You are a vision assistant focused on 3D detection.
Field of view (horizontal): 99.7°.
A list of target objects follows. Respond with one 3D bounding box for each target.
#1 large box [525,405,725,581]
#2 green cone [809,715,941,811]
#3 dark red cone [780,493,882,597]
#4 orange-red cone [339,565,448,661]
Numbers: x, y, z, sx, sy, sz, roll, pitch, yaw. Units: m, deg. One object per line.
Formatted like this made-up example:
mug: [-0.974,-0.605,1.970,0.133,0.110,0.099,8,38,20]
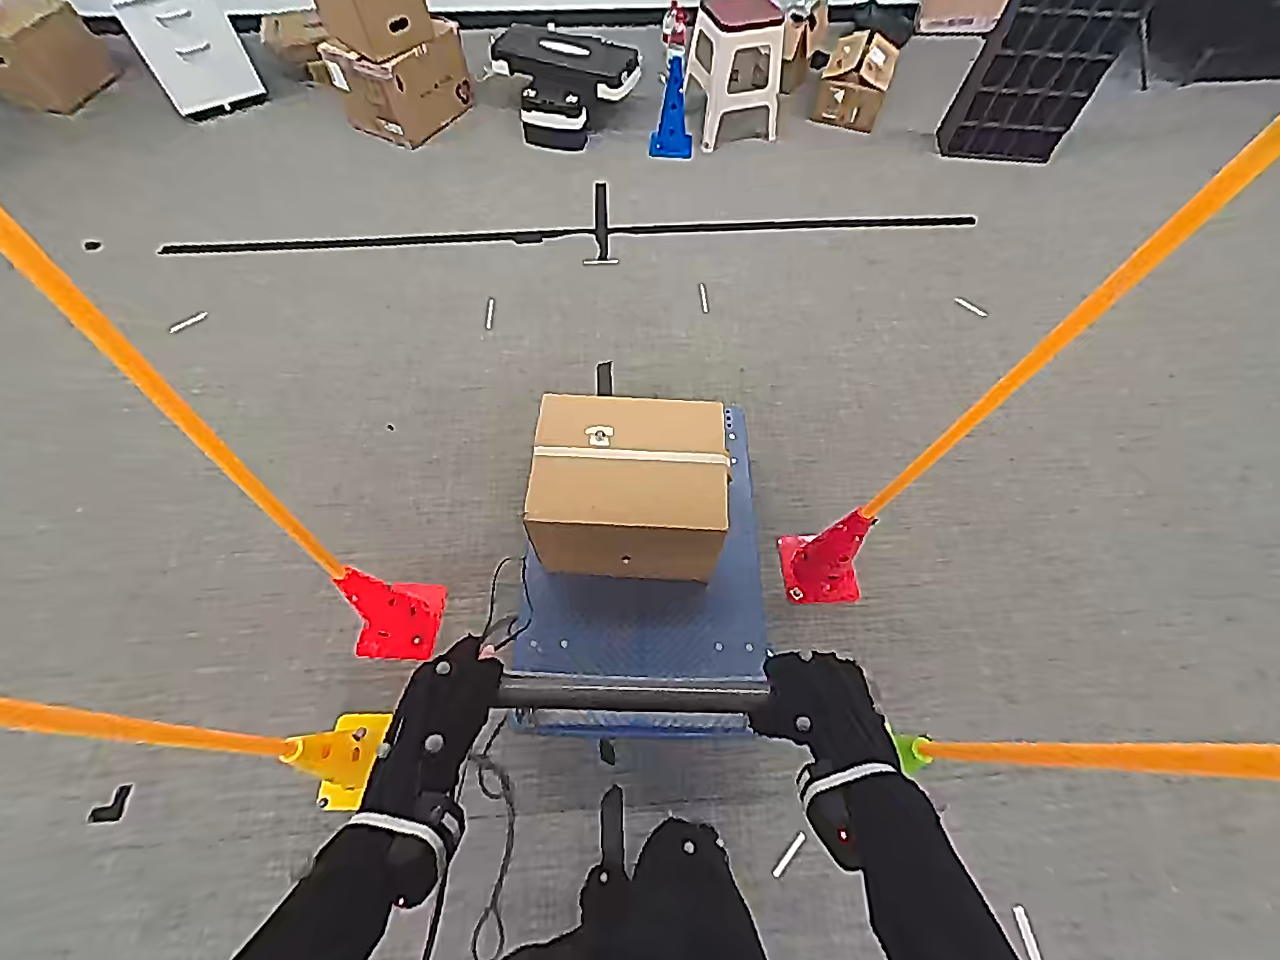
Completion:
large box: [-0.023,0.041,1.265,0.408,0.320,0.320,2,61,1]
green cone: [0.511,0.574,1.123,0.202,0.368,0.200,1,60,-1]
dark red cone: [0.504,0.147,1.352,0.201,0.394,0.202,-2,60,-4]
orange-red cone: [-0.620,0.283,1.285,0.198,0.360,0.199,4,58,1]
